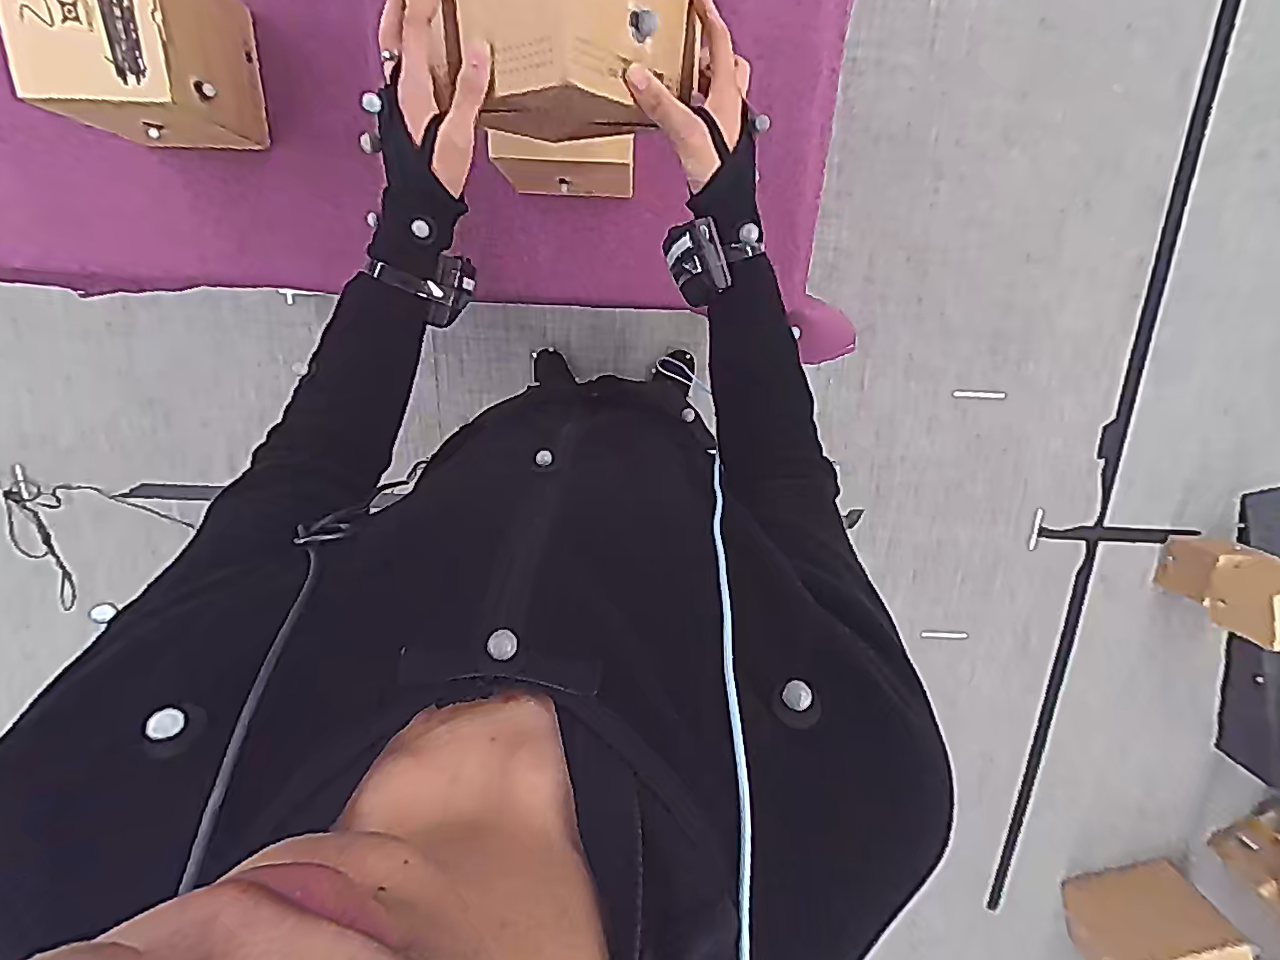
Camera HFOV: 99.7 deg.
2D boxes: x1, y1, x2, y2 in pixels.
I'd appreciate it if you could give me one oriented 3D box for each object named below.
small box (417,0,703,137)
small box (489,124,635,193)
[{"bbox_3d":[-0.064,-0.383,0.429,0.179,0.168,0.176,20,120,34],"label":"small box"},{"bbox_3d":[-0.088,-0.476,0.680,0.168,0.176,0.179,2,106,-2],"label":"small box"}]
